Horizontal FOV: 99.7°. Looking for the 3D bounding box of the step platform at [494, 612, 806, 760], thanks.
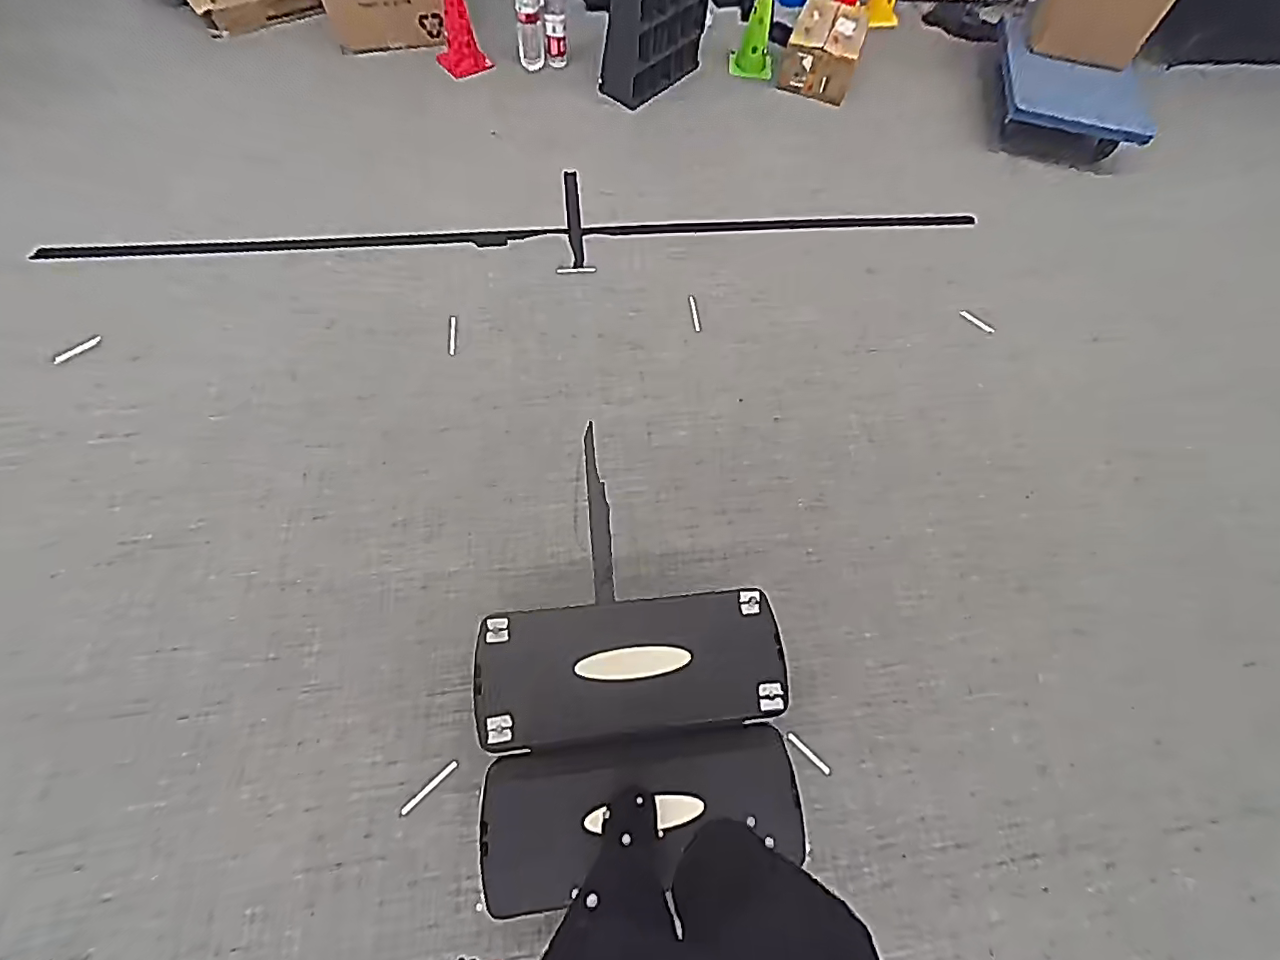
[{"bbox_3d":[0.020,0.460,1.226,0.684,0.204,0.286,0,62,-5],"label":"step platform"}]
